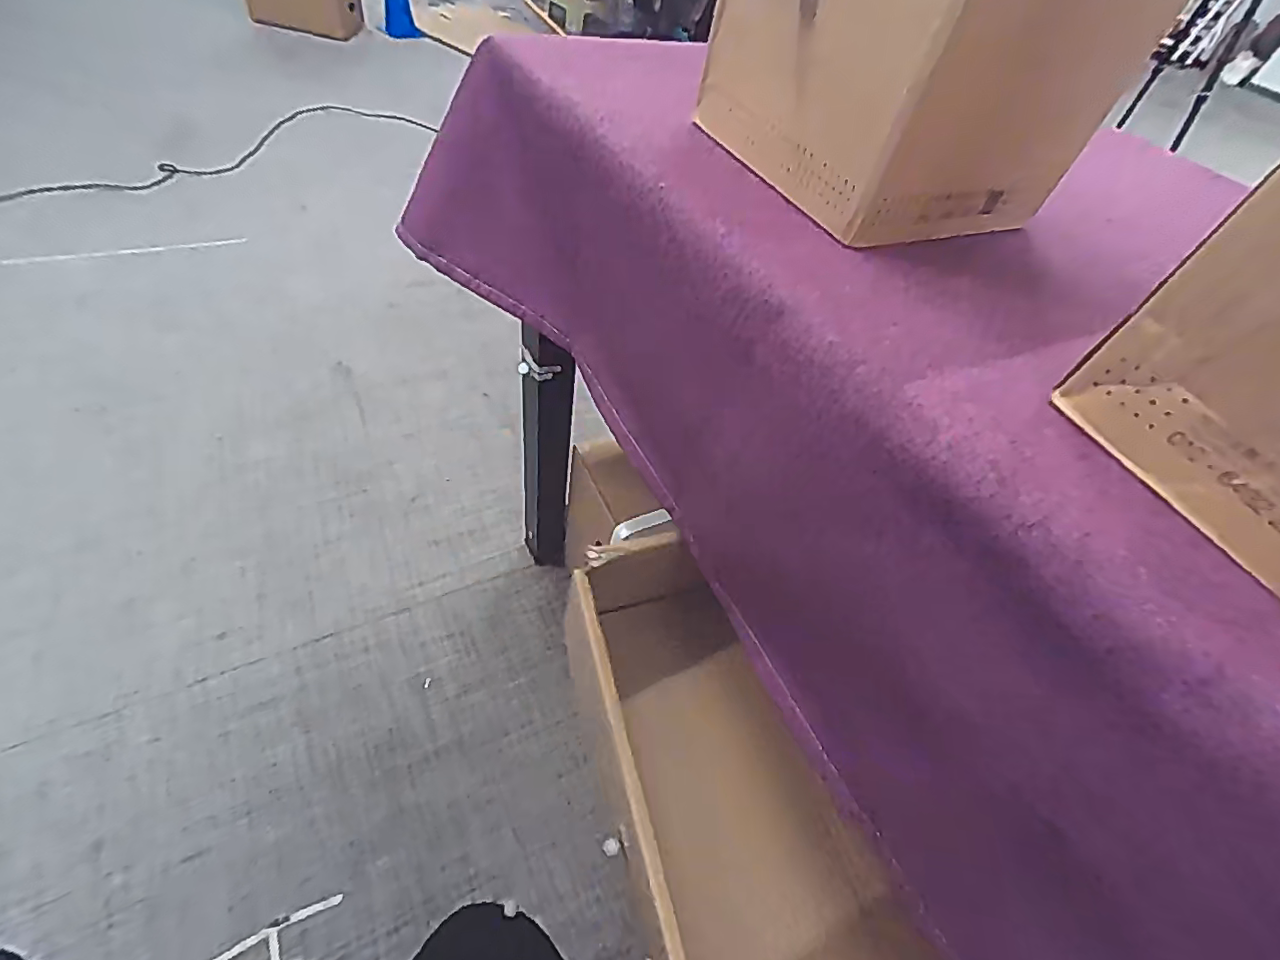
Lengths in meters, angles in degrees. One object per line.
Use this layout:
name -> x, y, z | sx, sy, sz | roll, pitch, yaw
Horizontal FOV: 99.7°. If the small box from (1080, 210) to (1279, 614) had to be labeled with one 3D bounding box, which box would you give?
small box -> 0.298, -0.036, 0.160 | 0.179, 0.176, 0.168 | -13, 55, -20
